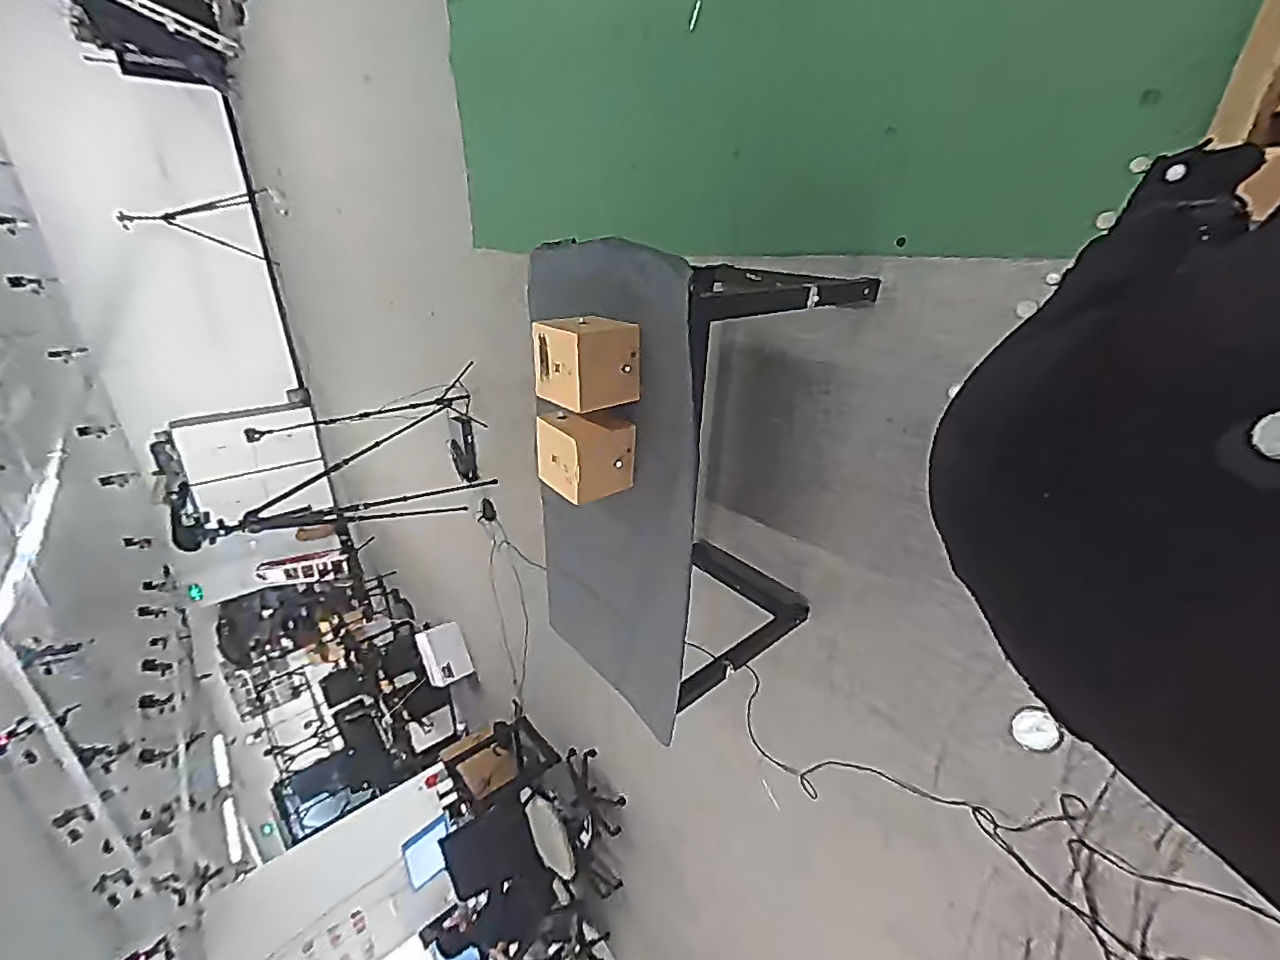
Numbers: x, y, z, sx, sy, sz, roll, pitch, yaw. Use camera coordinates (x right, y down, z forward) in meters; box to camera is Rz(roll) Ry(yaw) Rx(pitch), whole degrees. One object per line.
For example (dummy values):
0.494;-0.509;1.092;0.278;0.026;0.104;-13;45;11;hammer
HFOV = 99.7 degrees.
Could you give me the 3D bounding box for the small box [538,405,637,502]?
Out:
-0.129;-0.074;1.299;0.179;0.176;0.168;31;129;41;small box
